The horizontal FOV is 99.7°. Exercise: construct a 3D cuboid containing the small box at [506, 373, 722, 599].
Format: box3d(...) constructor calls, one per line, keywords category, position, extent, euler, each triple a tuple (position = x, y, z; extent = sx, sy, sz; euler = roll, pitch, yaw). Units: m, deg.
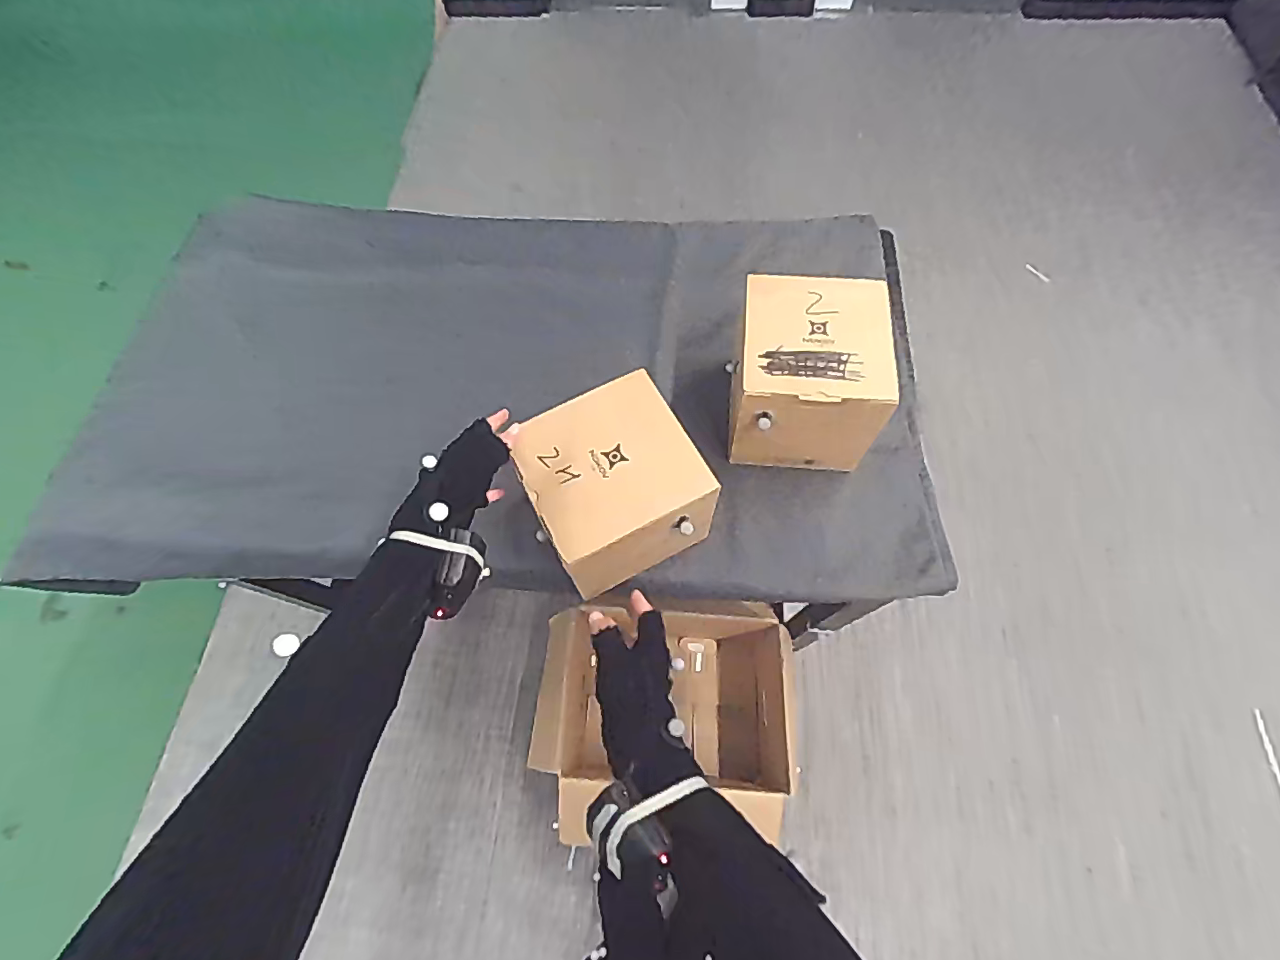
box3d(category="small box", position=(-0.028, 0.015, 0.627), extent=(0.179, 0.176, 0.168), euler=(-27, 67, -9))
